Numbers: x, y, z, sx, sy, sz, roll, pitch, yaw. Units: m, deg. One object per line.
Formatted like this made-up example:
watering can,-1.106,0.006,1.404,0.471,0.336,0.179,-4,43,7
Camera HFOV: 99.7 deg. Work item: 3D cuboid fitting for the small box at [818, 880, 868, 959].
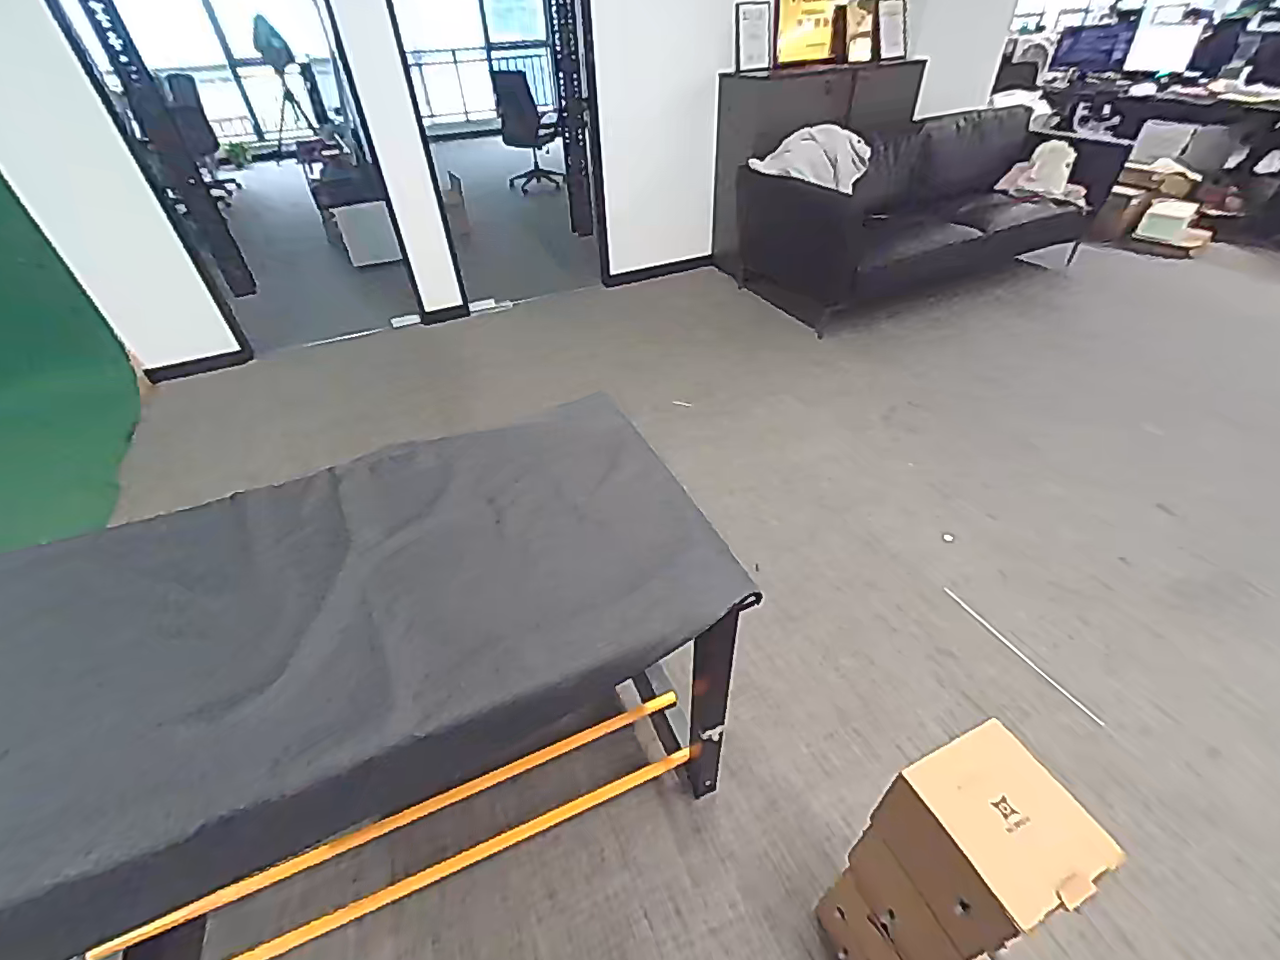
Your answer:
small box,0.458,0.823,1.001,0.179,0.176,0.168,-16,41,-17

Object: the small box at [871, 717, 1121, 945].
small box,0.431,0.448,0.688,0.168,0.176,0.179,-18,42,-18

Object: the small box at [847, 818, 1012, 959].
small box,0.437,0.574,0.789,0.168,0.176,0.179,-16,43,-17

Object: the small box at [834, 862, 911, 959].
small box,0.442,0.704,0.890,0.179,0.176,0.168,-18,43,-18
